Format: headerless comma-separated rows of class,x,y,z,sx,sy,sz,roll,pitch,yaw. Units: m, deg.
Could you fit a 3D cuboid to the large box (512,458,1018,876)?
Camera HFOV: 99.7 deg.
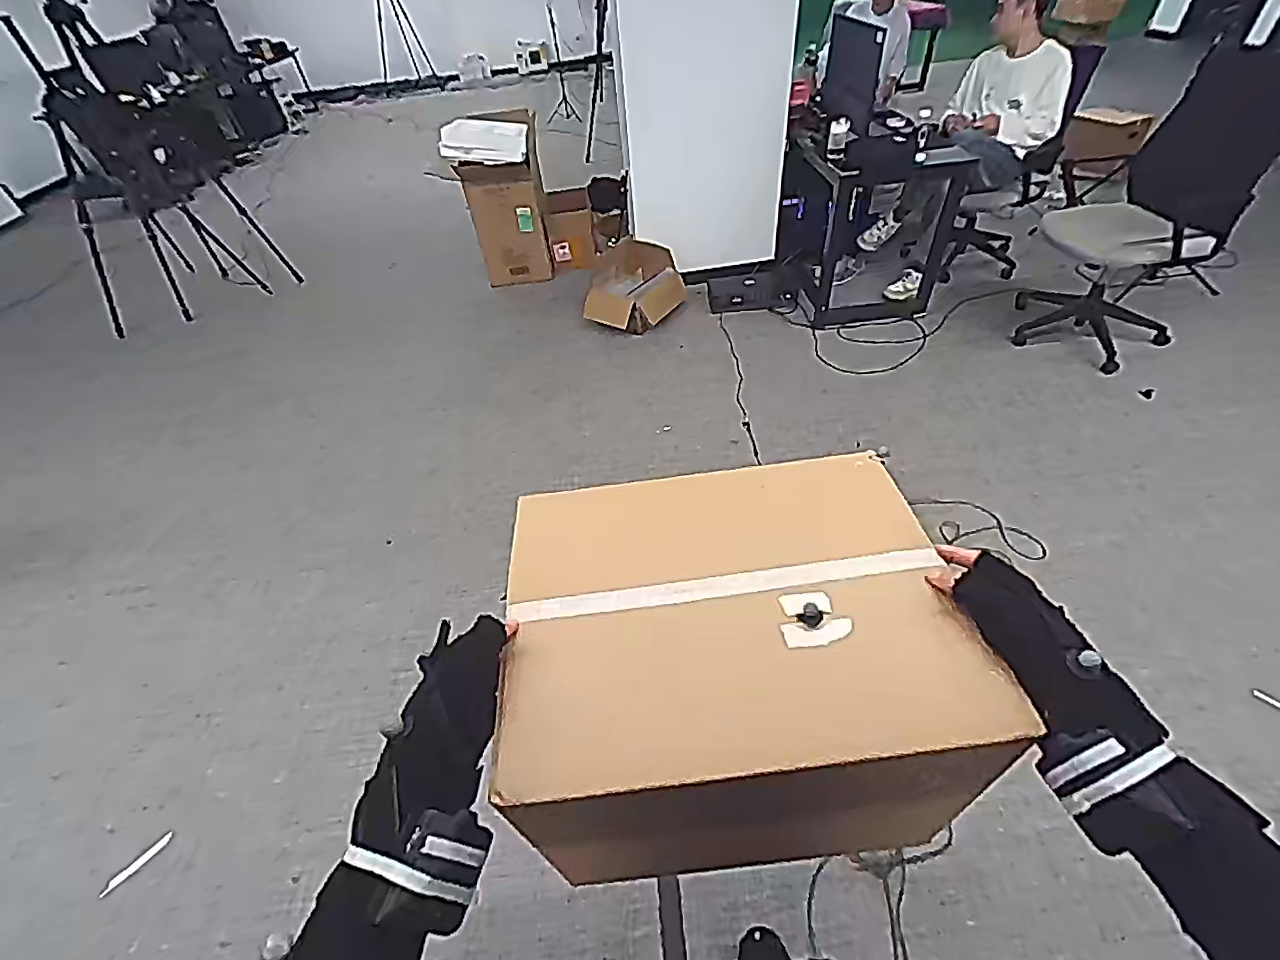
large box,0.094,0.212,0.620,0.408,0.320,0.320,-7,44,0
